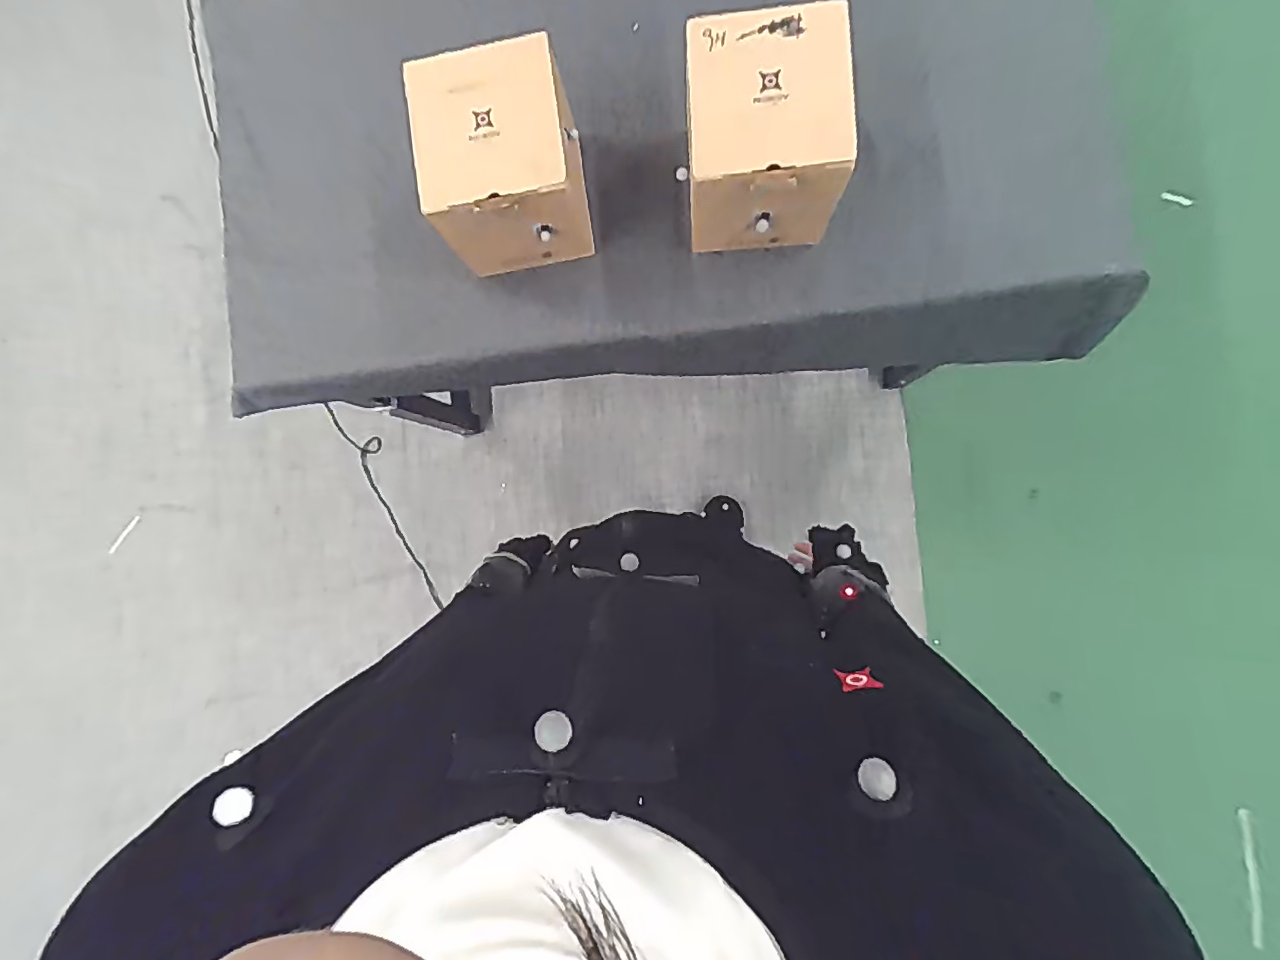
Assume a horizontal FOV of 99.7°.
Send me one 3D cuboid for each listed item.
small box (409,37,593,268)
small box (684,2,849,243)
[{"bbox_3d":[-0.160,-0.386,0.675,0.168,0.176,0.179,-9,86,5],"label":"small box"},{"bbox_3d":[0.140,-0.398,0.639,0.168,0.176,0.179,-2,88,6],"label":"small box"}]
